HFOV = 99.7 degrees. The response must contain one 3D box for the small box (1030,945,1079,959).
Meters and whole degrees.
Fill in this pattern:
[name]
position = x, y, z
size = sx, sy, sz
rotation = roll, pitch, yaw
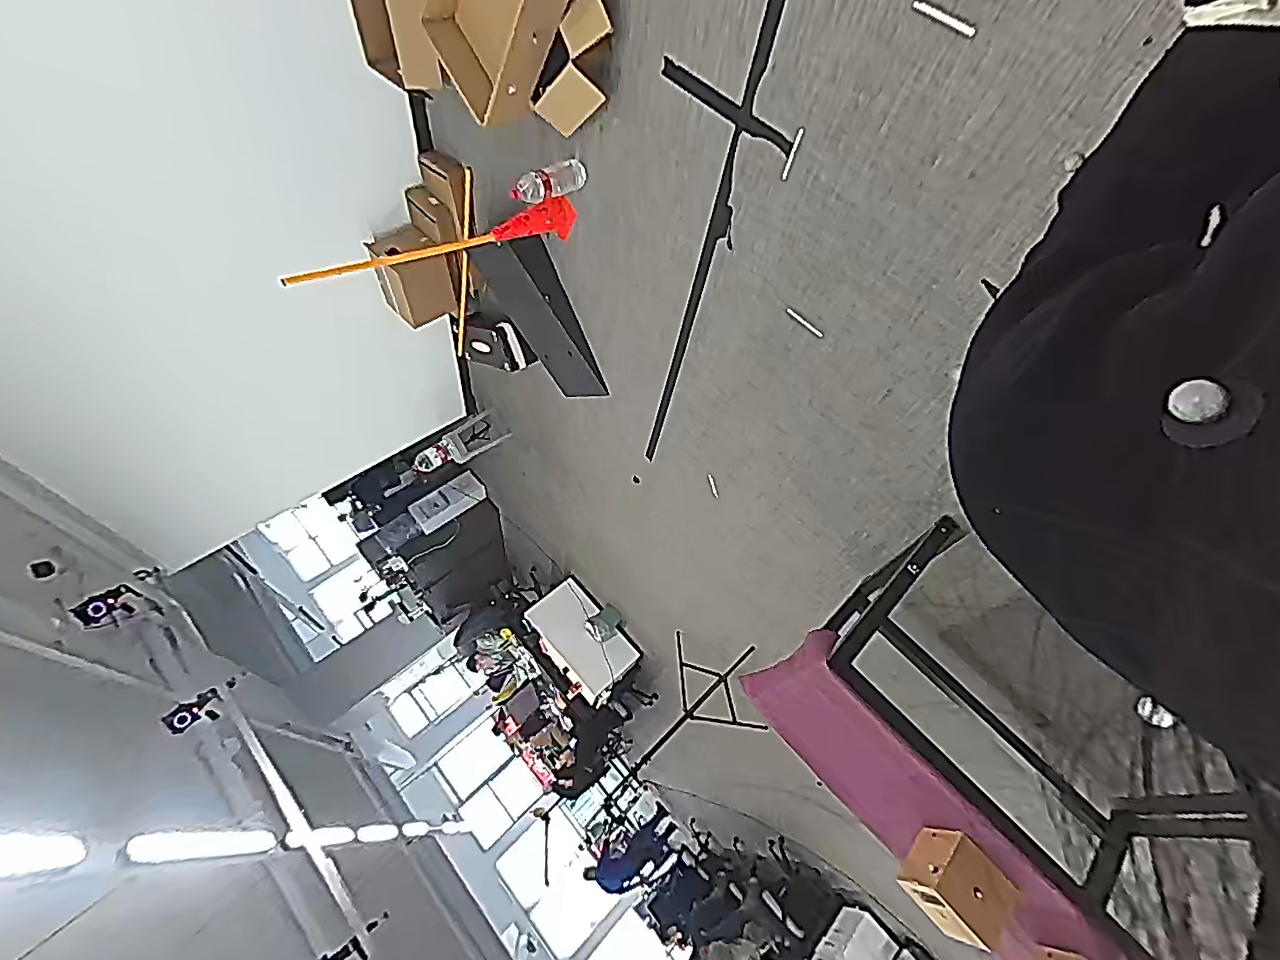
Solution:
[small box]
position = 1.044, 1.270, 1.288
size = 0.179, 0.176, 0.168
rotation = 43, 153, 19
